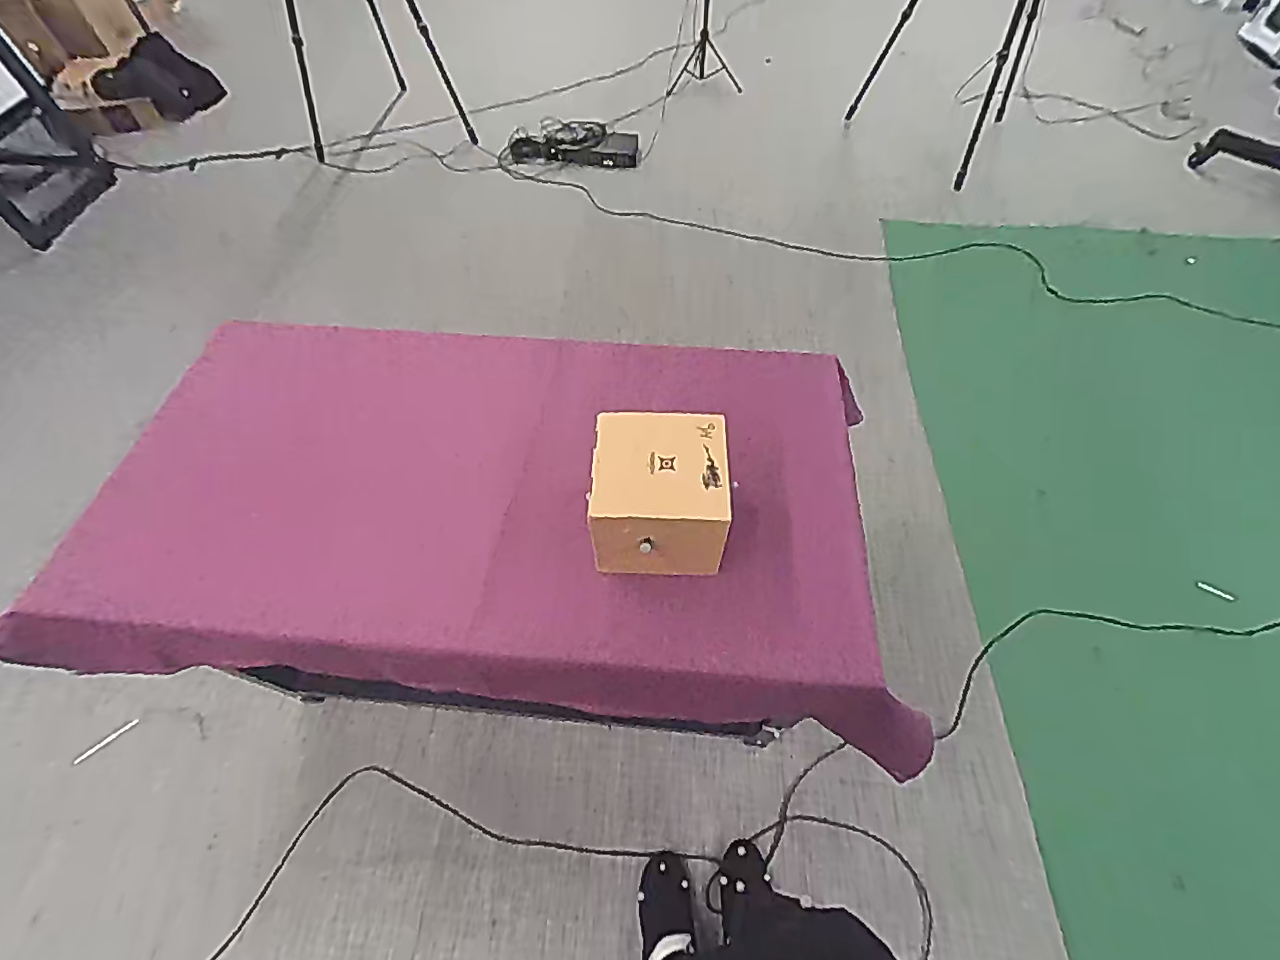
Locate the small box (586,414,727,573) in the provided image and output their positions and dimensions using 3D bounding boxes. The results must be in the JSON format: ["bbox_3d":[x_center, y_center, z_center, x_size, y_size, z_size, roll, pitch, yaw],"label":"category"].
[{"bbox_3d":[0.026,0.023,0.765,0.179,0.176,0.168,1,56,3],"label":"small box"}]
